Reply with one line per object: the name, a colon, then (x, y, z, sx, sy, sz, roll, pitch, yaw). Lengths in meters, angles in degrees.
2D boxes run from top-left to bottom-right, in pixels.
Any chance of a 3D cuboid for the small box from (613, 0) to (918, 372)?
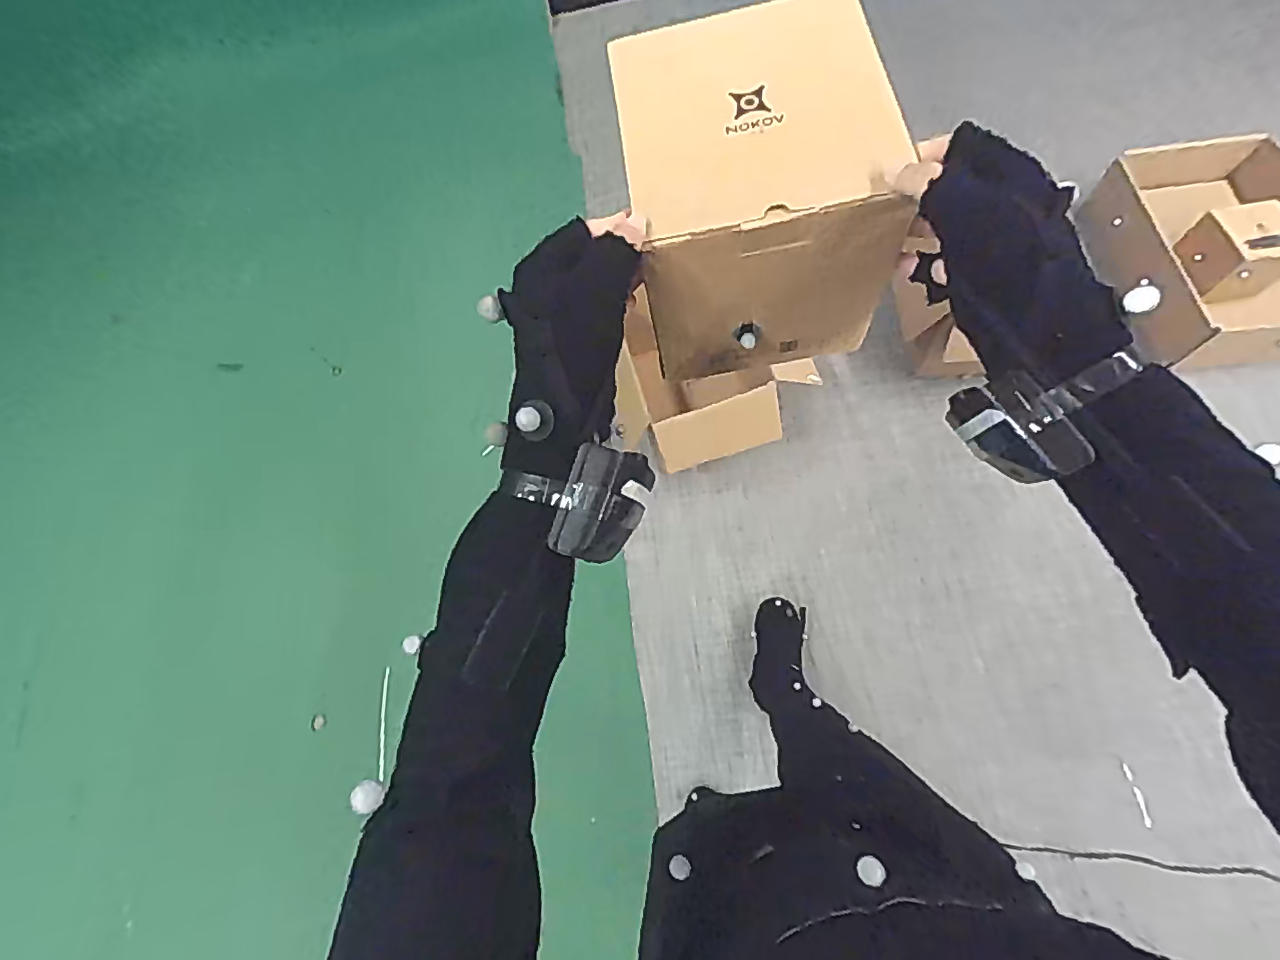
small box: (0.079, -0.208, 0.414, 0.168, 0.176, 0.179, -9, 72, 6)
